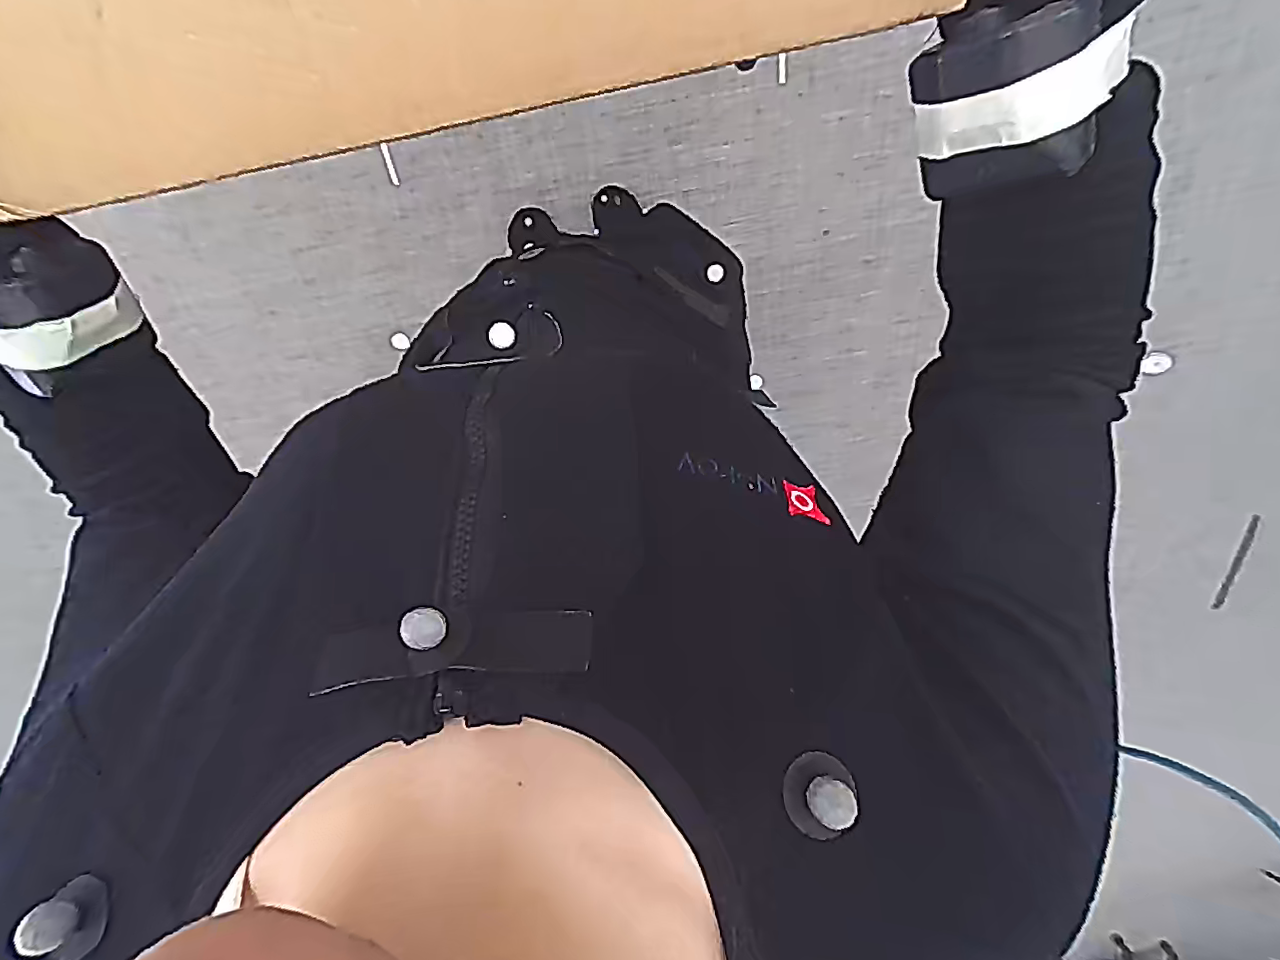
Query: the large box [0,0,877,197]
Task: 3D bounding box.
[{"bbox_3d":[-0.115,-0.368,0.205,0.408,0.320,0.320,-10,139,4],"label":"large box"}]
